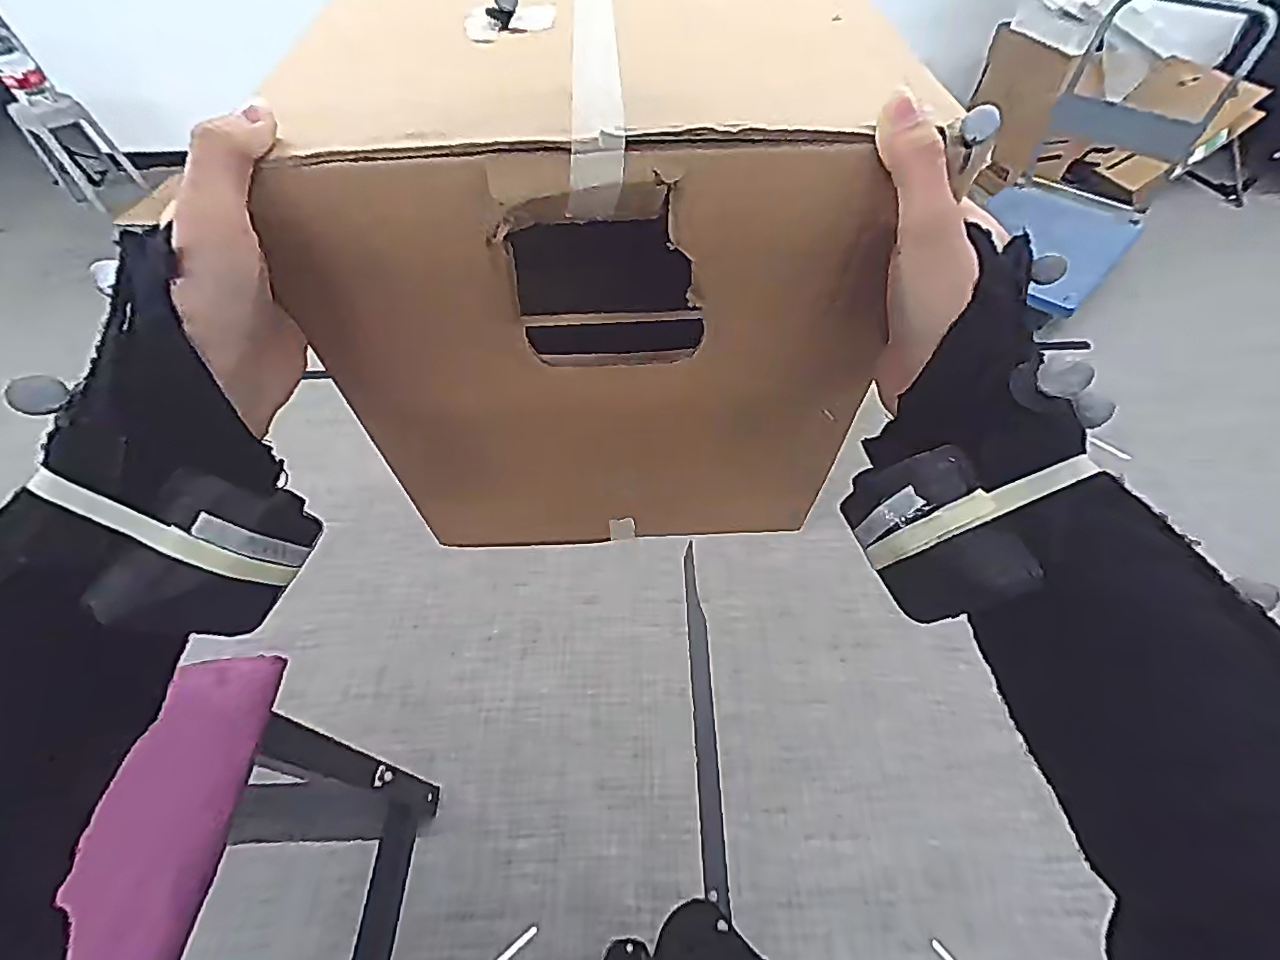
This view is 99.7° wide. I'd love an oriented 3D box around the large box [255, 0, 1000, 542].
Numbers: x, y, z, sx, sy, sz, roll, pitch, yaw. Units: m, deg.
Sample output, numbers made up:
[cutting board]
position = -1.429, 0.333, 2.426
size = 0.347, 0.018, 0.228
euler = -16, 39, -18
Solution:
[large box]
position = -0.017, -0.201, 0.451
size = 0.320, 0.320, 0.408
euler = -4, 55, -1
